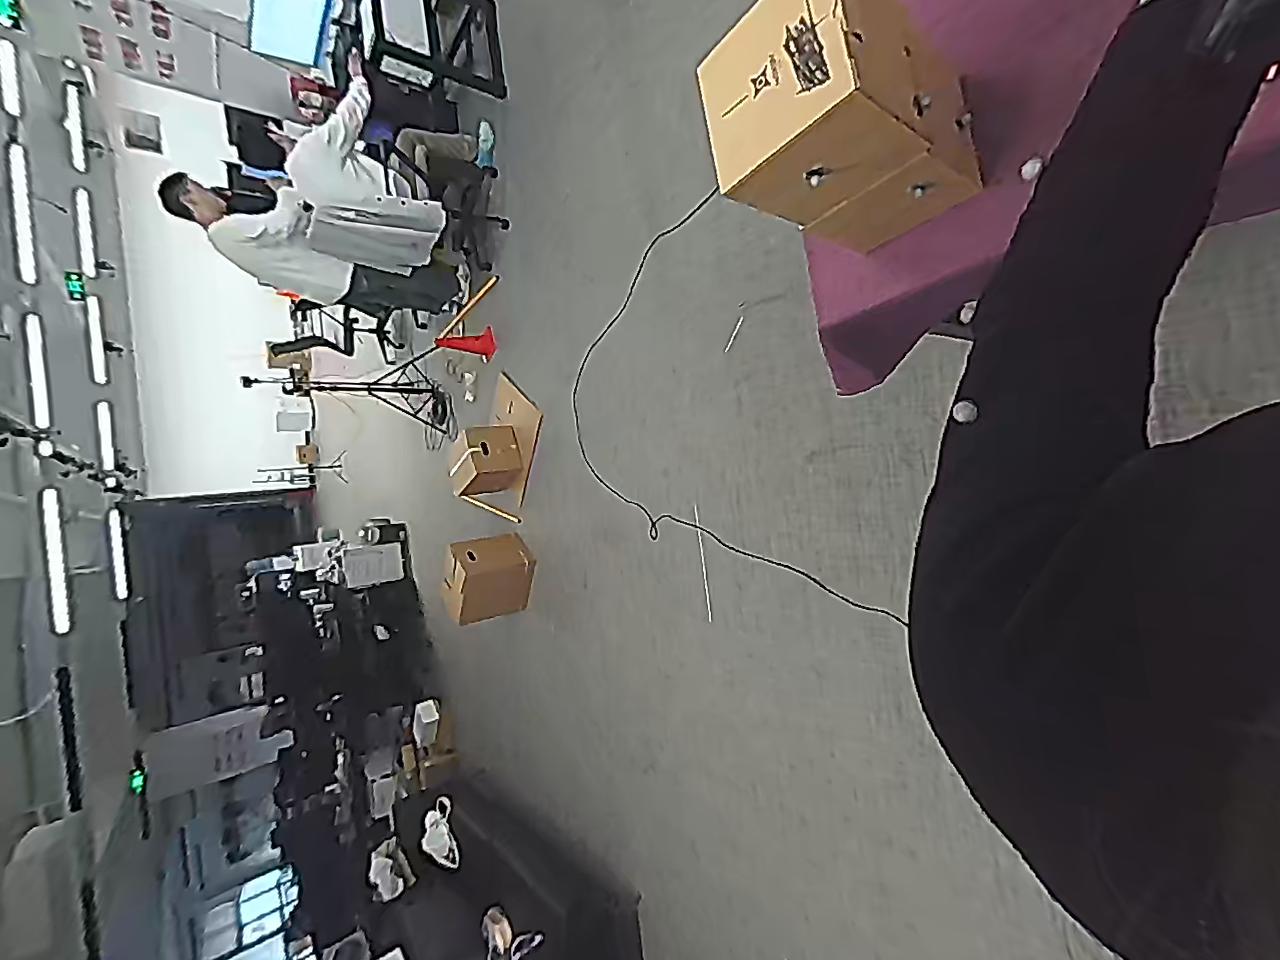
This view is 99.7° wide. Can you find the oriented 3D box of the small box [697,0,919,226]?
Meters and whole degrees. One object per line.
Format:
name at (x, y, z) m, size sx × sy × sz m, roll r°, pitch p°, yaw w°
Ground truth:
small box at (0.197, -0.426, 0.625) m, size 0.179 × 0.176 × 0.168 m, roll -16°, pitch 82°, yaw 51°
